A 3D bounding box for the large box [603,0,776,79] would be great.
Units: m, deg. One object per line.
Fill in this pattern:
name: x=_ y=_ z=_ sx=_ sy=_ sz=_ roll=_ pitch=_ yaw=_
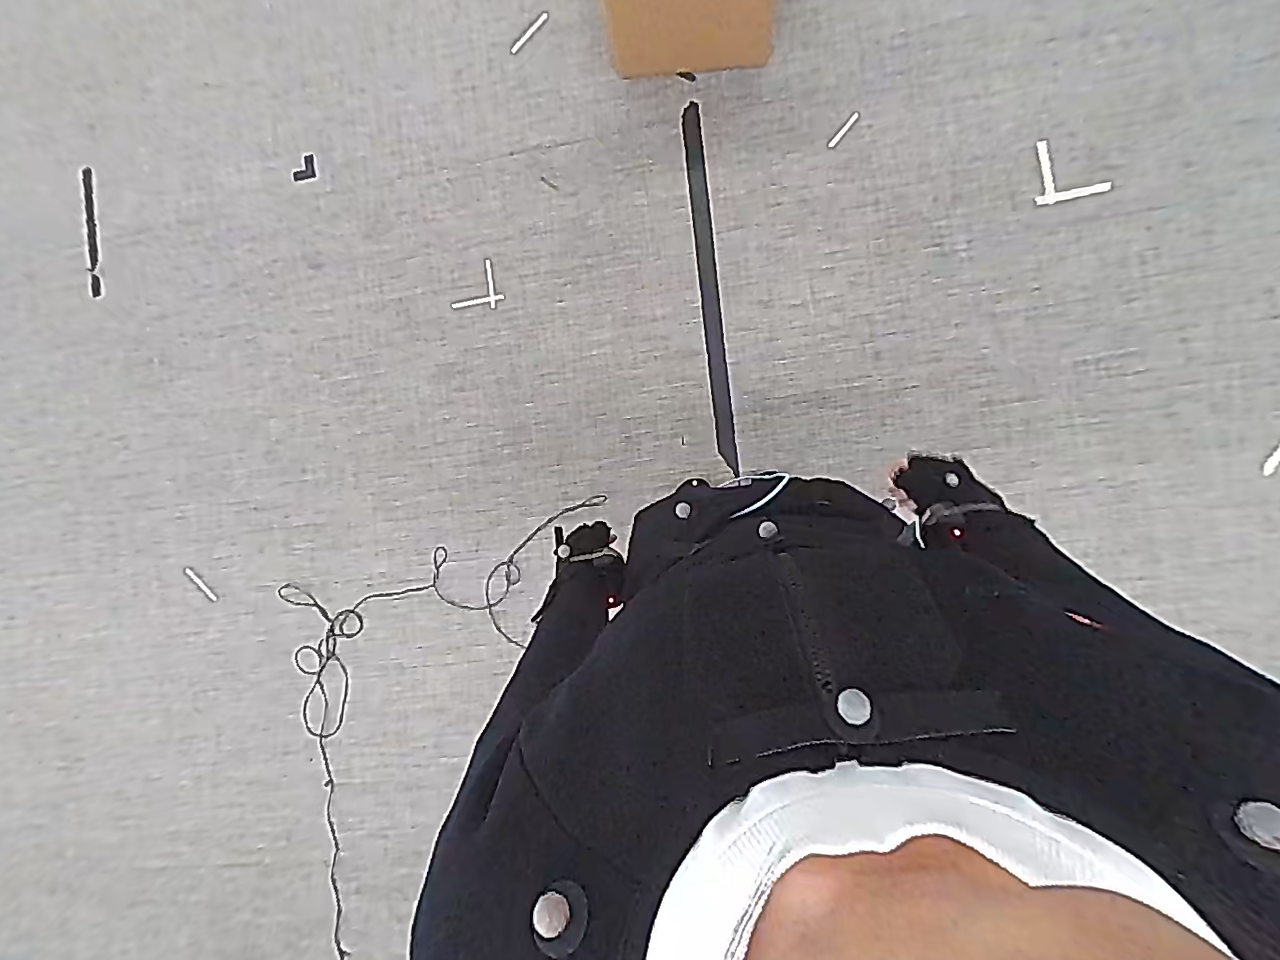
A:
large box: x=0.116 y=-1.245 z=1.308 sx=0.408 sy=0.320 sz=0.320 roll=-1 pitch=91 yaw=5
